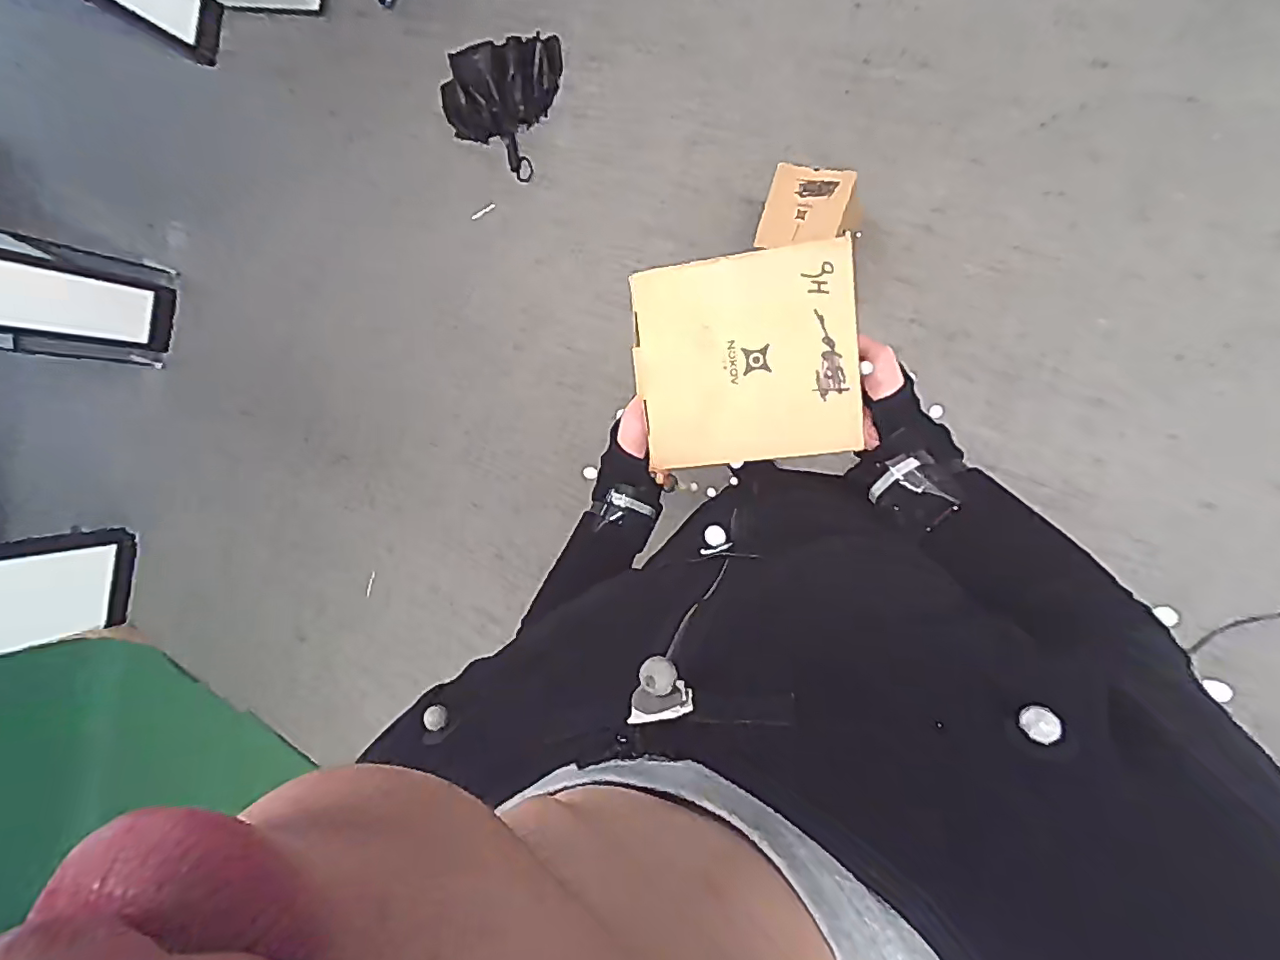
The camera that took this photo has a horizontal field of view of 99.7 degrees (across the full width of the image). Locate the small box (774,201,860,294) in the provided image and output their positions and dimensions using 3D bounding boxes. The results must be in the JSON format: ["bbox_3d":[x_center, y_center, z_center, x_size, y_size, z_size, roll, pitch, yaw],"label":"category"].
[{"bbox_3d":[0.437,-0.587,1.350,0.168,0.176,0.179,21,103,21],"label":"small box"}]

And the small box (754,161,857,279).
[{"bbox_3d":[0.370,-0.570,1.200,0.168,0.176,0.179,21,102,21],"label":"small box"}]
